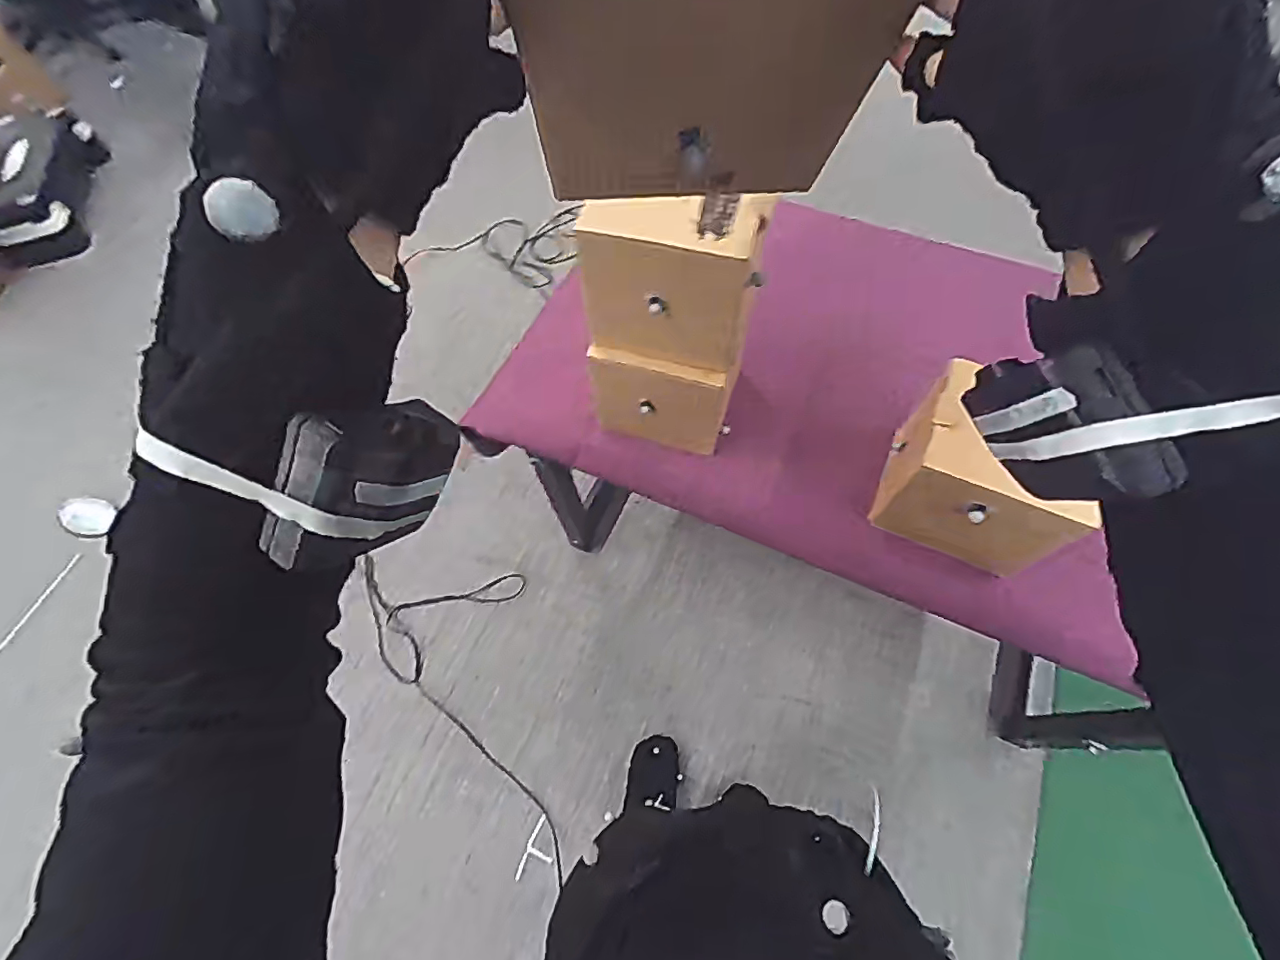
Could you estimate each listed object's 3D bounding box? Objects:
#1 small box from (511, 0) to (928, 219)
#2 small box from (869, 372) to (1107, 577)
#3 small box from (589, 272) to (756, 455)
[{"bbox_3d":[0.024,-0.261,0.276,0.168,0.176,0.179,-2,89,-2],"label":"small box"},{"bbox_3d":[0.417,0.003,0.670,0.179,0.176,0.168,23,66,14],"label":"small box"},{"bbox_3d":[0.047,-0.154,0.757,0.179,0.176,0.168,16,65,10],"label":"small box"}]
